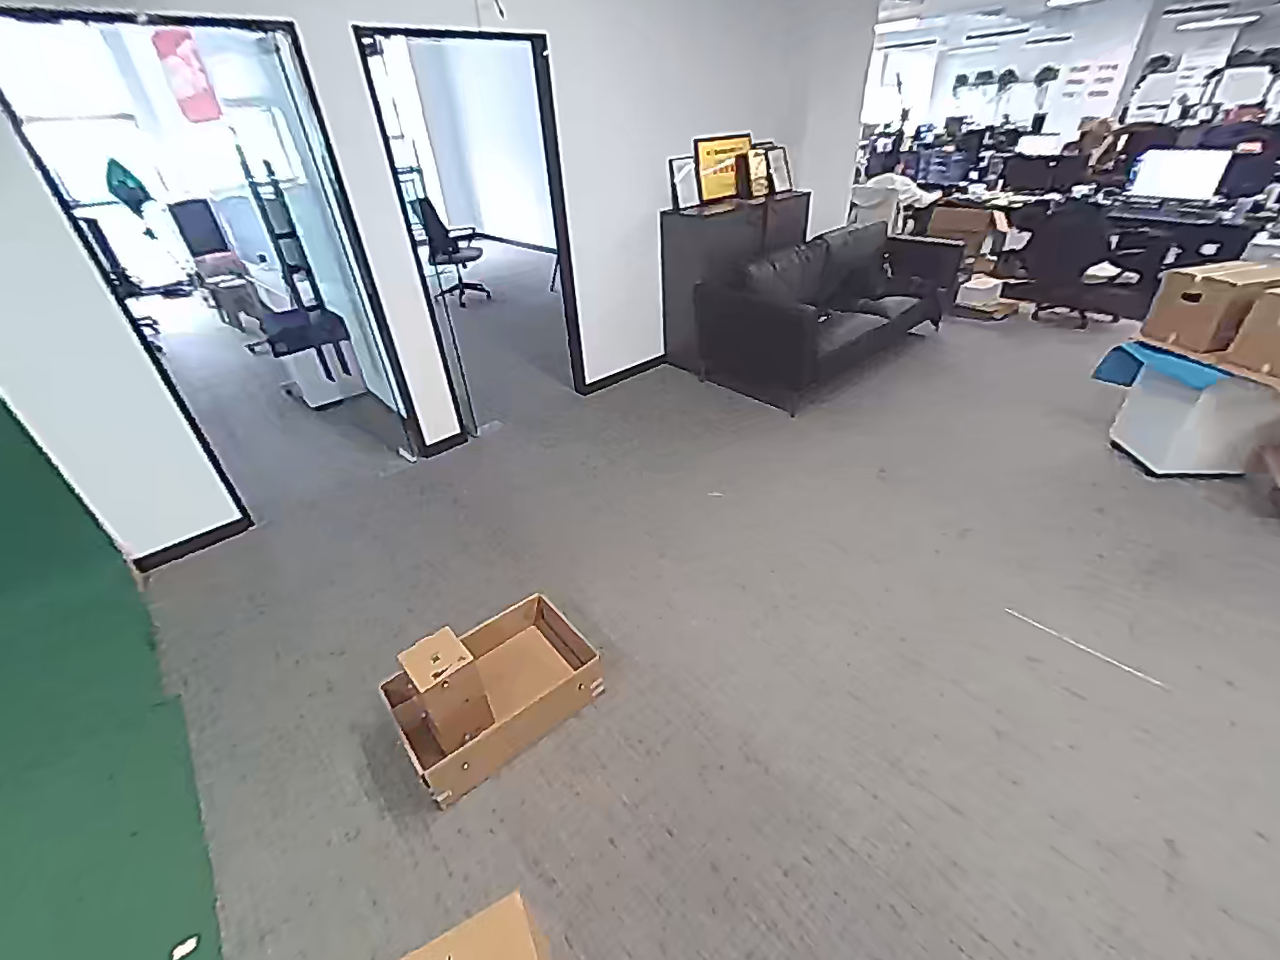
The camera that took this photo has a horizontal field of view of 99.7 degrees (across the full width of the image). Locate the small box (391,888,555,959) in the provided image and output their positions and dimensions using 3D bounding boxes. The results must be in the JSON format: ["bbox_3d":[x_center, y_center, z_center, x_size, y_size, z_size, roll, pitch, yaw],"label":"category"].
[{"bbox_3d":[-0.157,0.570,0.542,0.168,0.176,0.179,-20,39,-19],"label":"small box"}]

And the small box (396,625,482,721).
[{"bbox_3d":[-0.599,0.580,1.623,0.168,0.176,0.179,-30,42,-32],"label":"small box"}]
